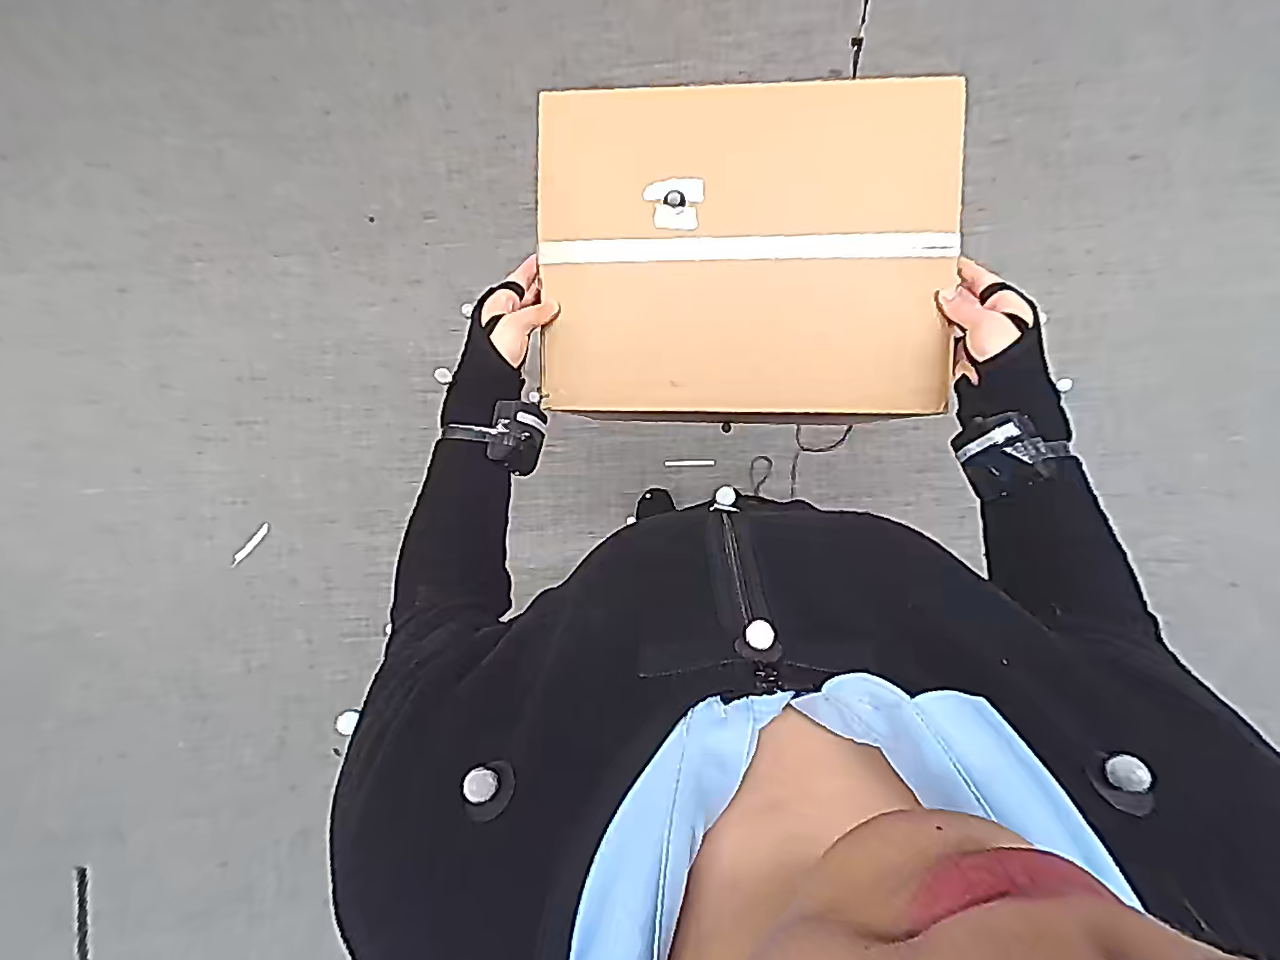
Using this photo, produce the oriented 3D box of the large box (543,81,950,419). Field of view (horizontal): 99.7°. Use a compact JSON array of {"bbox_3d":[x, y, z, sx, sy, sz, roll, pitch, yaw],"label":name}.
[{"bbox_3d":[0.115,-0.239,0.690,0.408,0.320,0.320,1,93,5],"label":"large box"}]
